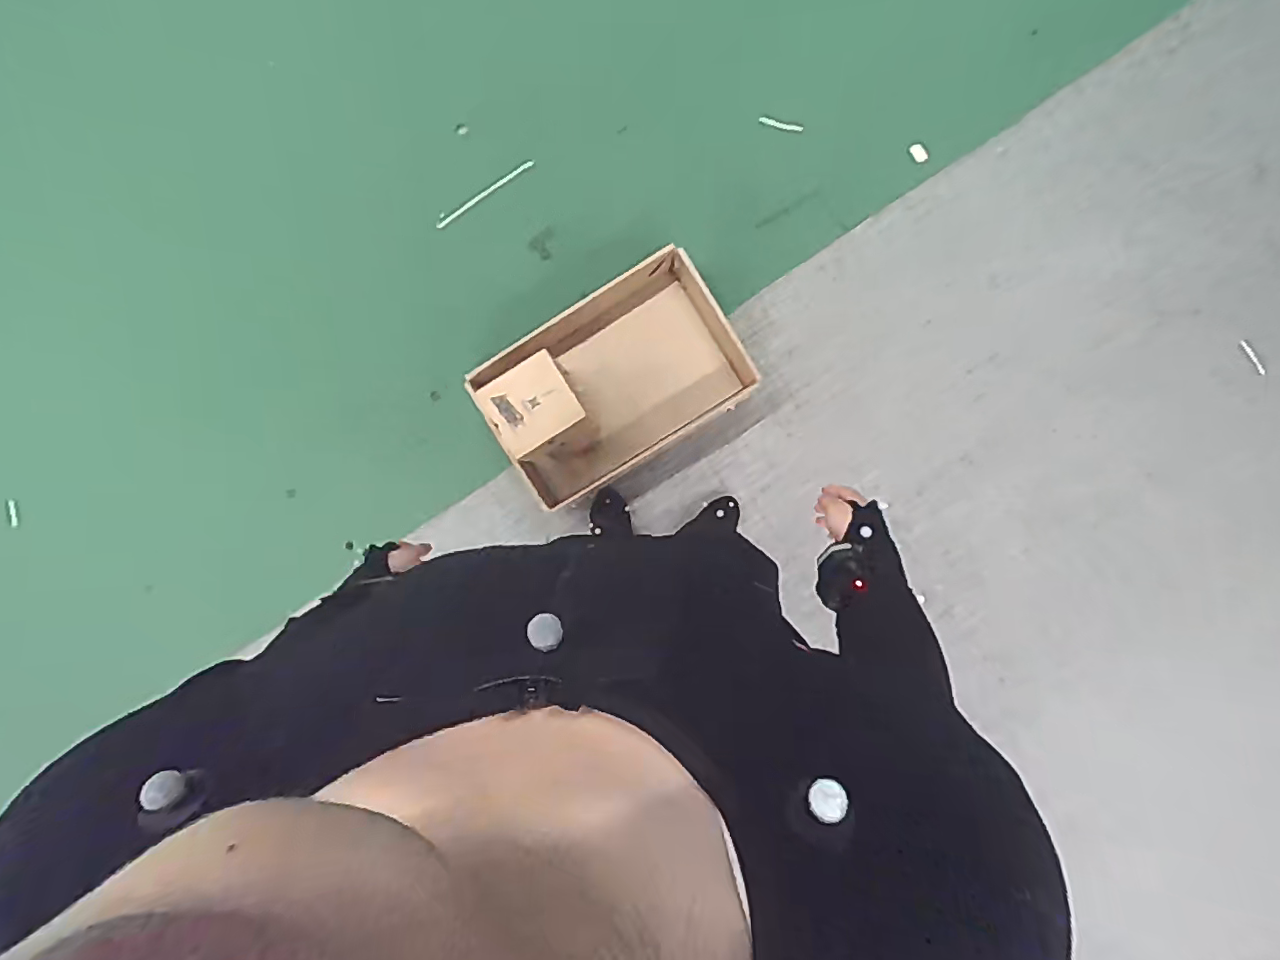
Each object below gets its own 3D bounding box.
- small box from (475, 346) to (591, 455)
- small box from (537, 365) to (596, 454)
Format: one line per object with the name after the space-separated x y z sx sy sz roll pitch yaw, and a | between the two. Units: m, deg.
-0.225 -0.165 1.187 0.179 0.176 0.168 -32 92 1 | small box
-0.224 -0.182 1.350 0.168 0.176 0.179 -33 92 2 | small box
